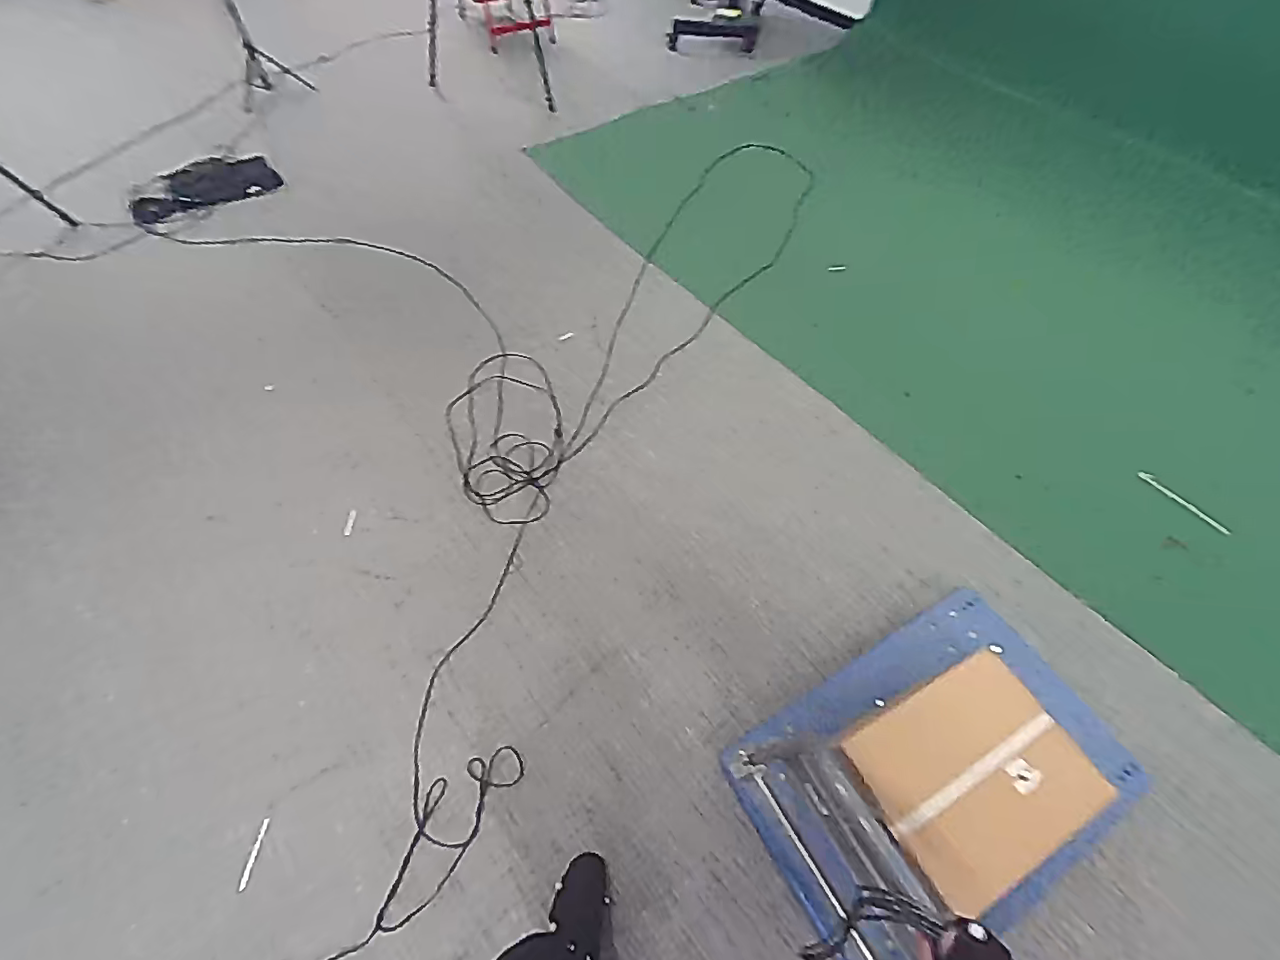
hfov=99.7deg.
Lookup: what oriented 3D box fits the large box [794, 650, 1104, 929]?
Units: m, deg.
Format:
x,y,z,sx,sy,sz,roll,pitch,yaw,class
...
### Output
x,y,z,sx,sy,sz,roll,pitch,yaw,class
0.603,0.625,1.126,0.408,0.320,0.320,-23,62,-18,large box
